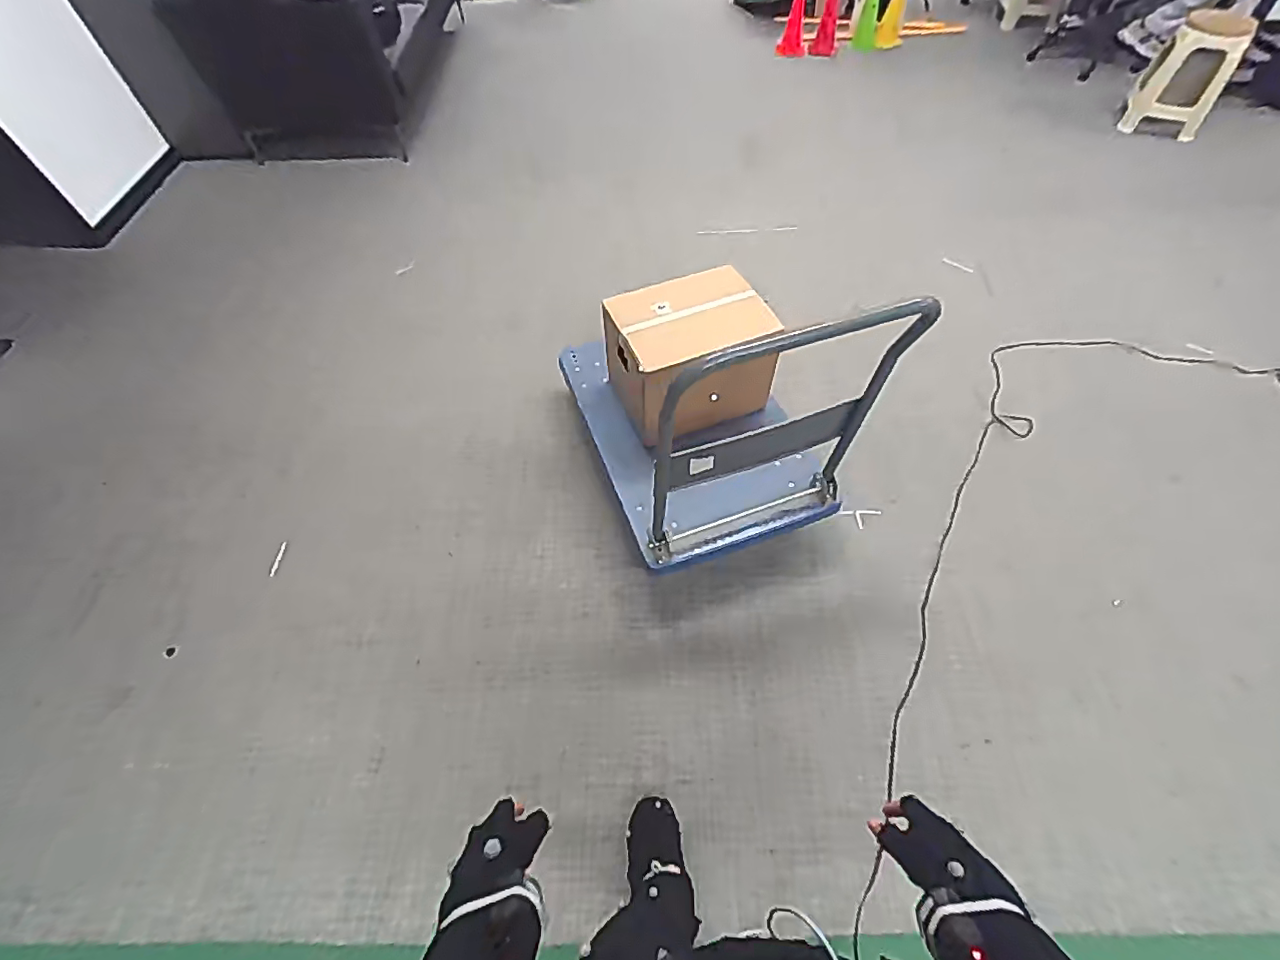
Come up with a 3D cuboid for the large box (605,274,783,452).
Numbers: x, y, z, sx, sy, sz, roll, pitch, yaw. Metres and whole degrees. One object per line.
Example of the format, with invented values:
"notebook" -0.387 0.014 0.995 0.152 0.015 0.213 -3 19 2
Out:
"large box" 0.146 -0.342 1.591 0.408 0.320 0.320 -20 57 -12
